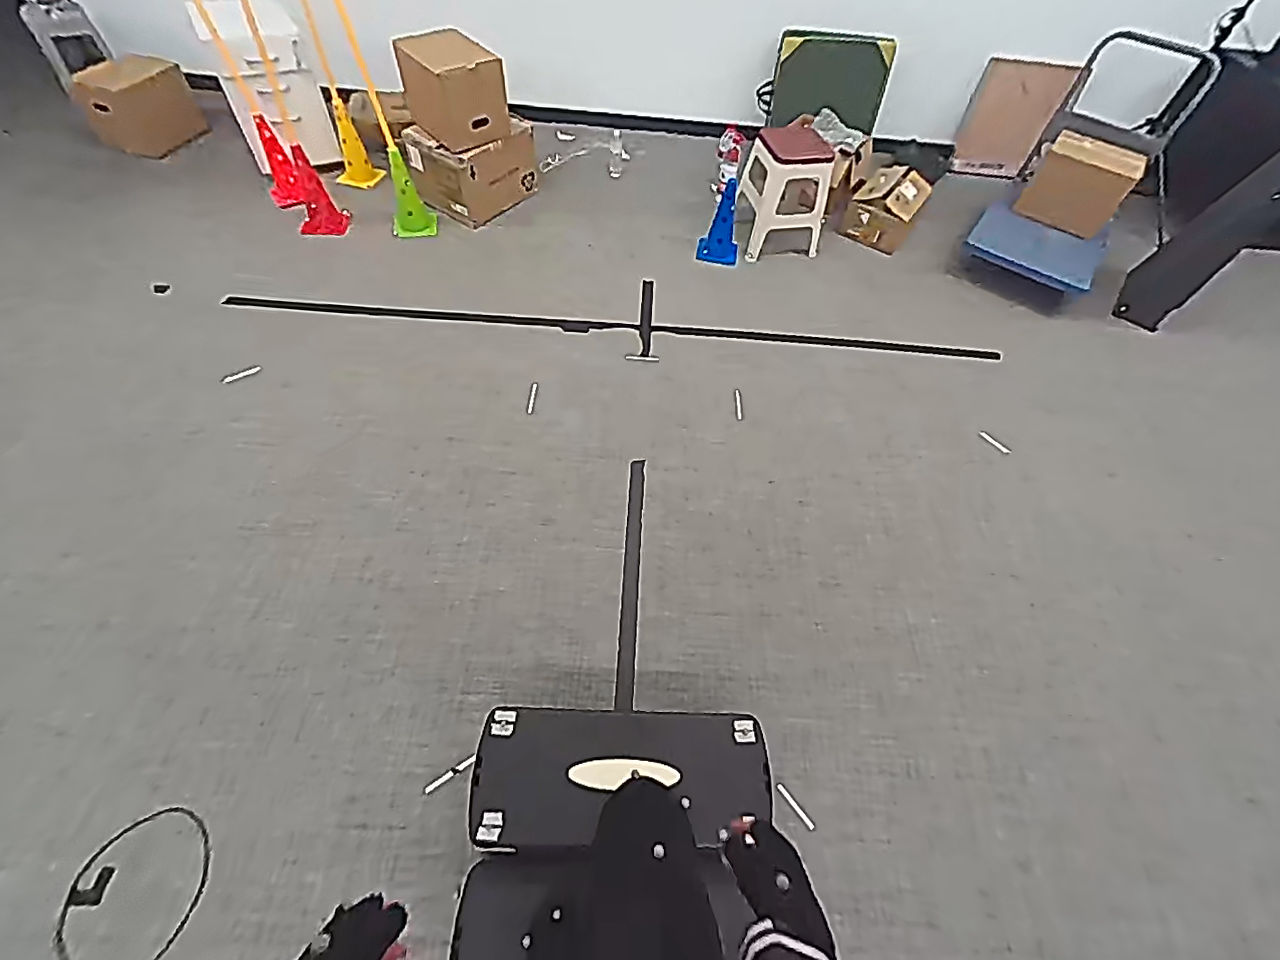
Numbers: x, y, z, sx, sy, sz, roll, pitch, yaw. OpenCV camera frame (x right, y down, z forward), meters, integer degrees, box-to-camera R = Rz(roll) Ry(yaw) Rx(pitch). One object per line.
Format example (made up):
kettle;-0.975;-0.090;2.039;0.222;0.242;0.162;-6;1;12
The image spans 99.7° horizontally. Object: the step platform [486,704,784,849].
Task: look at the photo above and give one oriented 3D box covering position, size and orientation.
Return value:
step platform;-0.011;0.702;1.286;0.684;0.204;0.286;3;55;-4
